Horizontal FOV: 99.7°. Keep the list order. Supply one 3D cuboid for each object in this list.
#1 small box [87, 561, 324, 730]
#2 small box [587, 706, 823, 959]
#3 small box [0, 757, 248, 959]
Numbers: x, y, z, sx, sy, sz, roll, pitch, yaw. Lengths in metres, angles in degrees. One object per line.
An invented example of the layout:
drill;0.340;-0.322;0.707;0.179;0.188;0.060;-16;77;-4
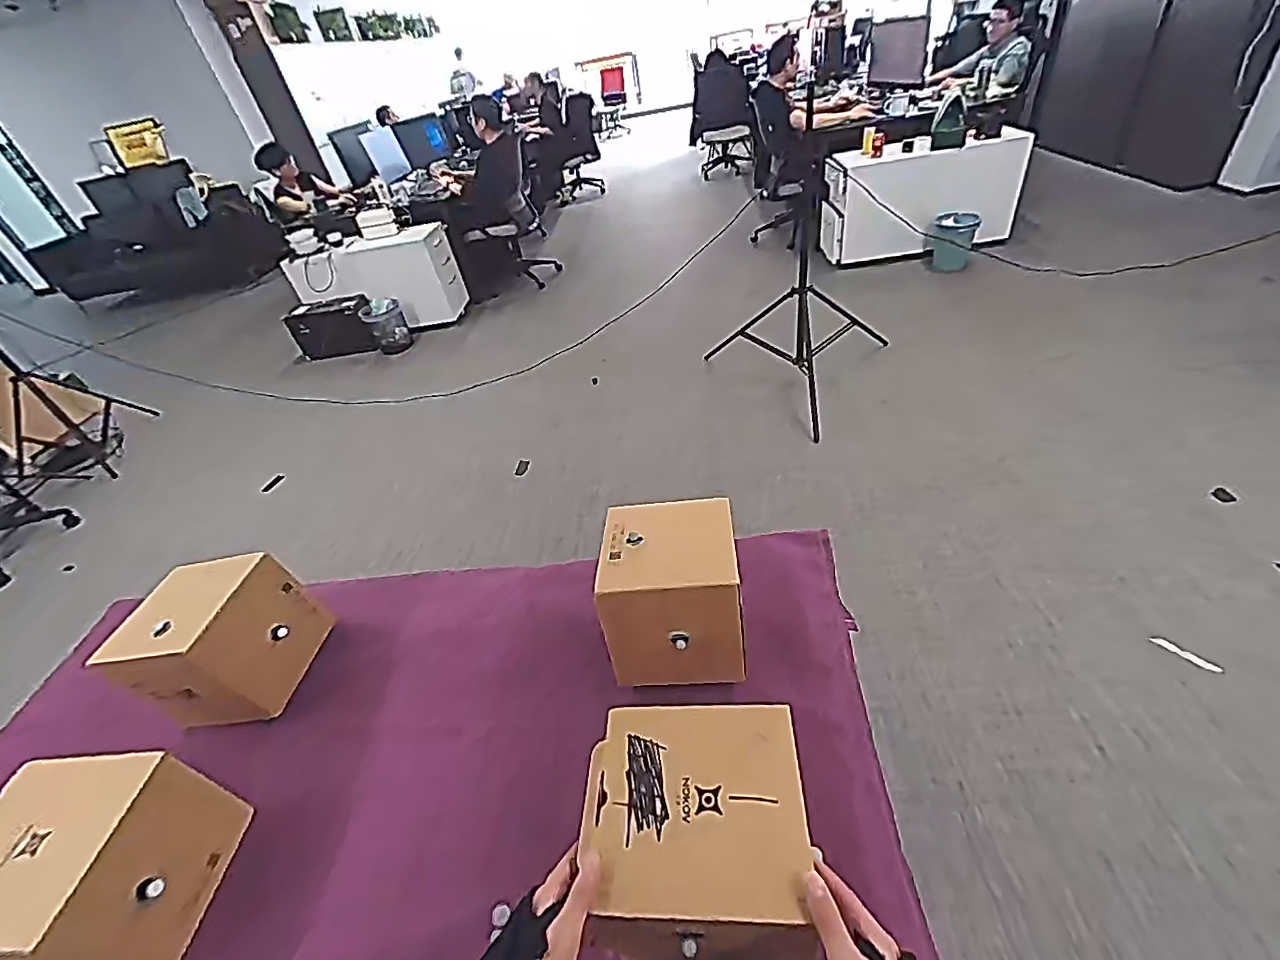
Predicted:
small box;-0.593;0.232;0.774;0.179;0.168;0.176;-10;37;14
small box;0.064;0.331;0.501;0.179;0.176;0.168;-5;39;9
small box;-0.573;0.415;0.568;0.179;0.176;0.168;-7;39;6
